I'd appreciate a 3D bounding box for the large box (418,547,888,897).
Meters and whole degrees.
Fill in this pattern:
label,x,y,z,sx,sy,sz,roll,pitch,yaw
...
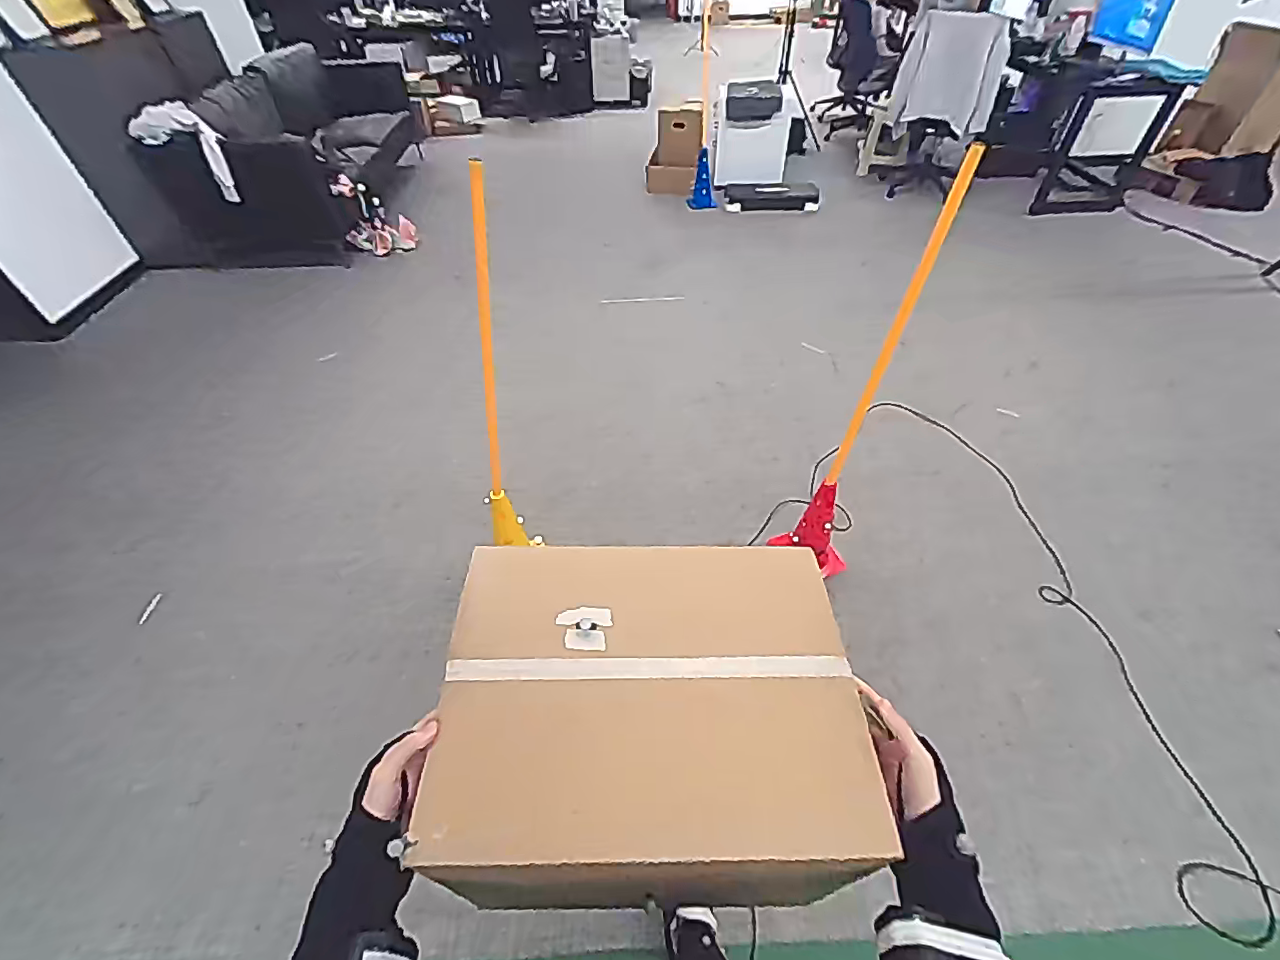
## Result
label,x,y,z,sx,sy,sz,roll,pitch,yaw
large box,0.010,0.298,0.660,0.408,0.320,0.320,0,46,-1
